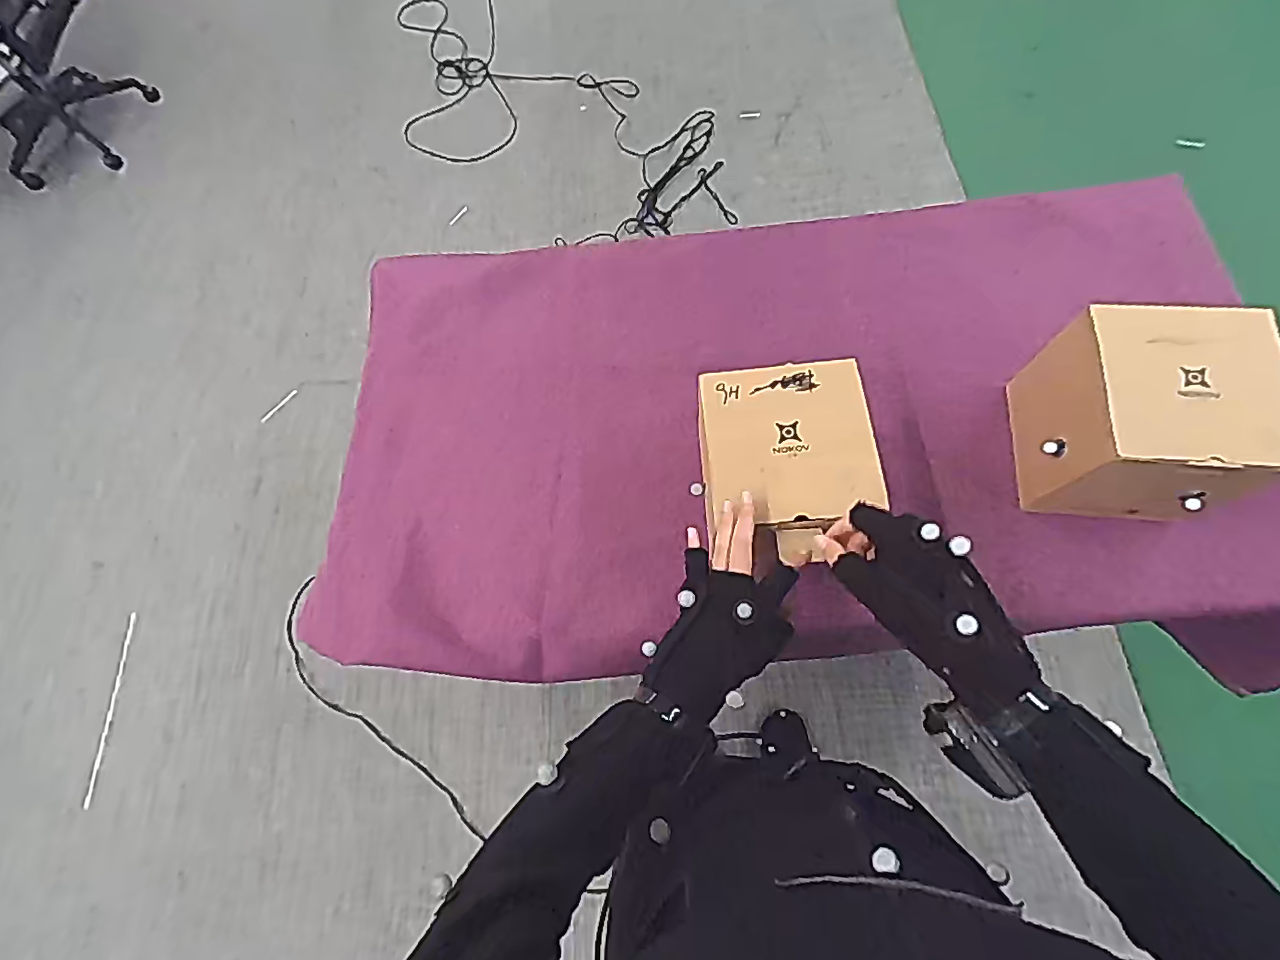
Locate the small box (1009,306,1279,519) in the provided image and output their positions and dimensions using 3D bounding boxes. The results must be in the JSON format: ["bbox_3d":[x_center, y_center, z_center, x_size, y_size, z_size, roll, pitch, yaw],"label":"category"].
[{"bbox_3d":[0.538,-0.065,0.591,0.168,0.176,0.179,5,70,9],"label":"small box"}]

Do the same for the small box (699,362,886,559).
[{"bbox_3d":[0.157,-0.010,0.616,0.168,0.176,0.179,-5,70,5],"label":"small box"}]
